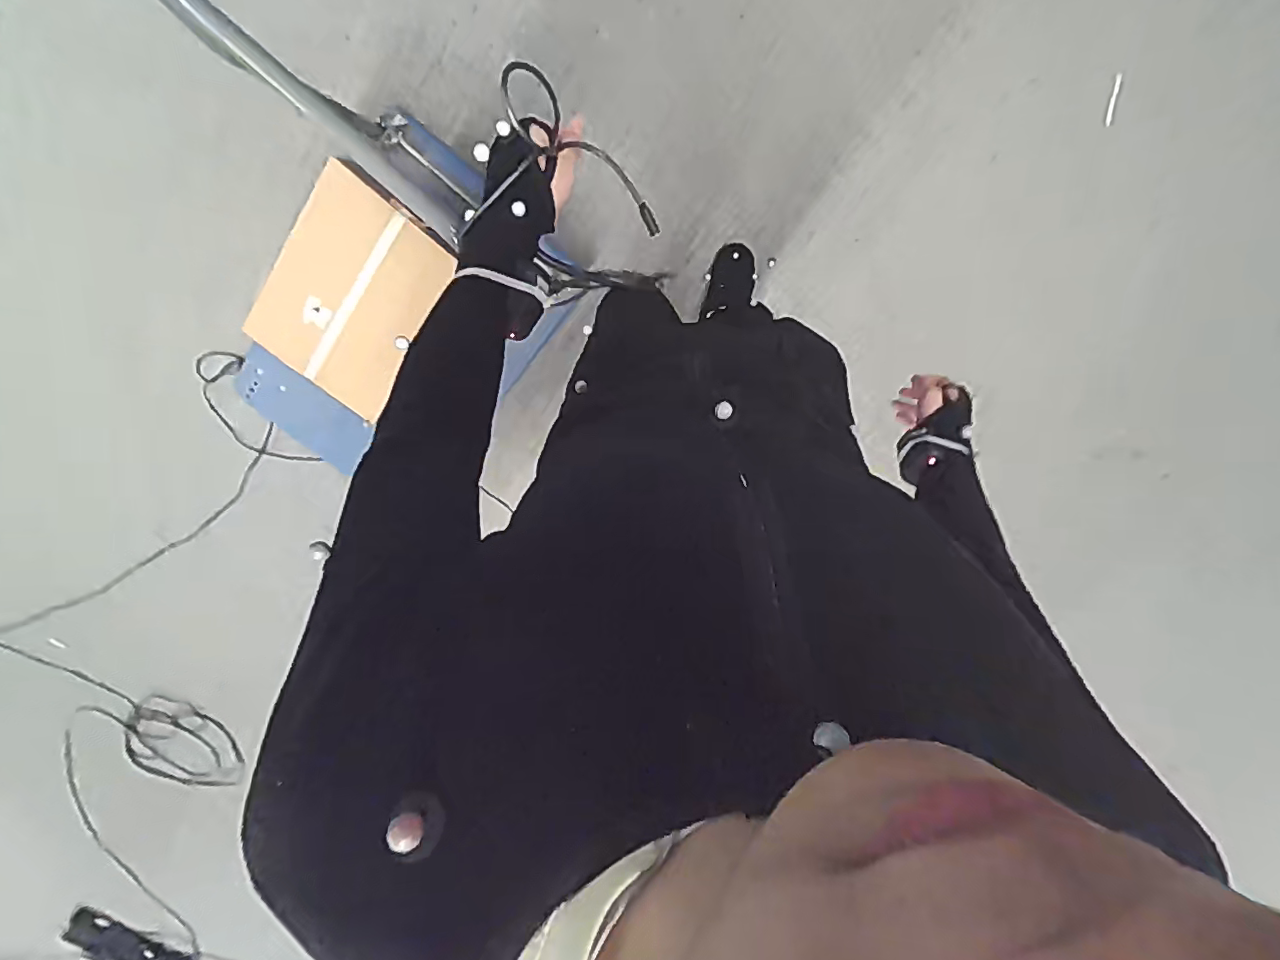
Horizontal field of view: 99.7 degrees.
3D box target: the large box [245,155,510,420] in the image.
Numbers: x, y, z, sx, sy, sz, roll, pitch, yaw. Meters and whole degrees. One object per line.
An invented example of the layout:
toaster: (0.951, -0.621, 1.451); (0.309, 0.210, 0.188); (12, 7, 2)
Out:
large box: (-0.552, -0.414, 1.192); (0.320, 0.320, 0.408); (39, 110, -12)
